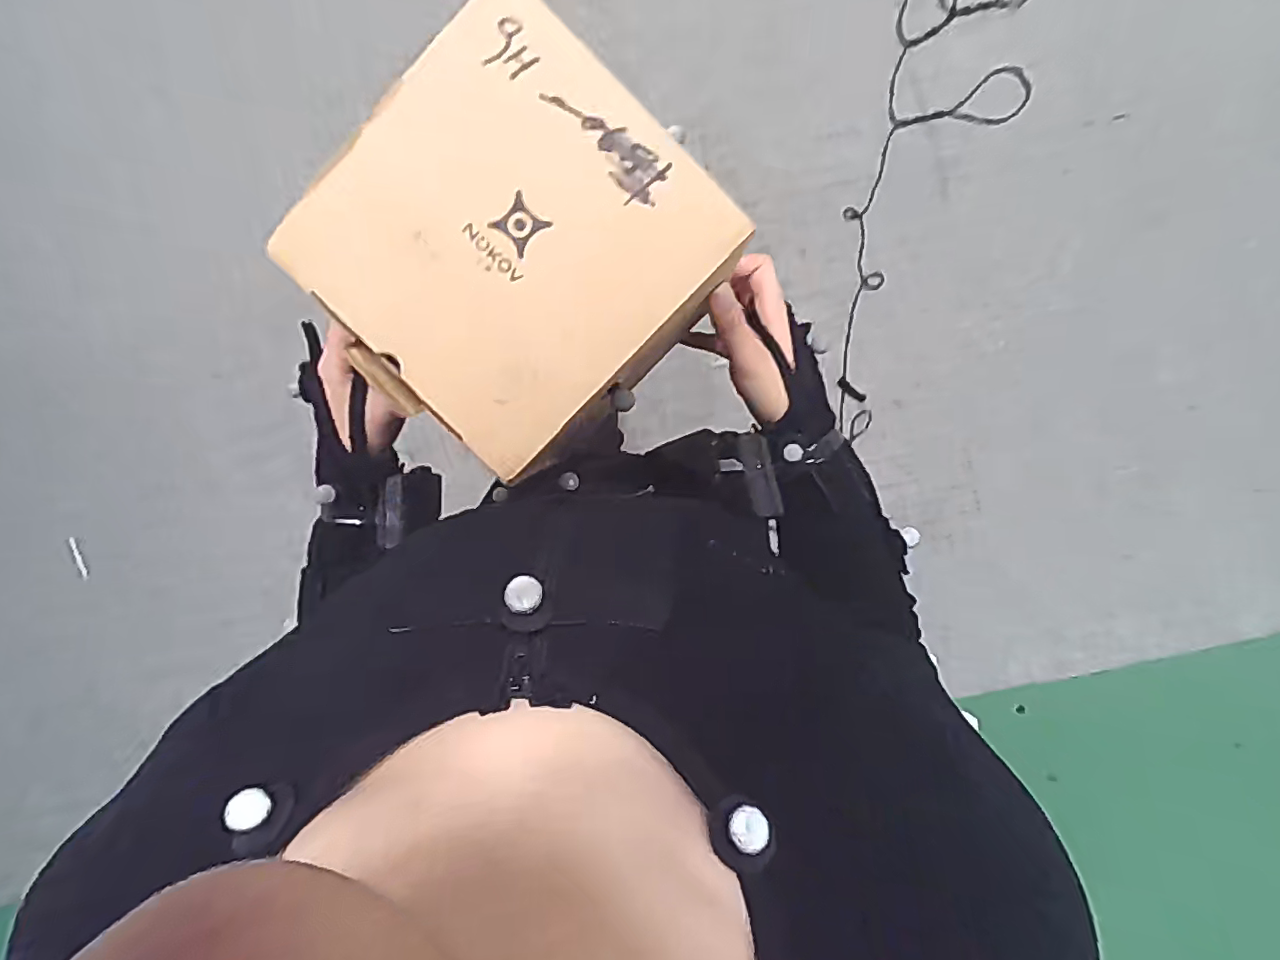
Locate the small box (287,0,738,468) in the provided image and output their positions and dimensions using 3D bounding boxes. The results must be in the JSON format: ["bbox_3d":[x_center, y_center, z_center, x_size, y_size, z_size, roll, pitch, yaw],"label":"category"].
[{"bbox_3d":[-0.062,-0.130,0.350,0.168,0.176,0.179,44,96,-4],"label":"small box"}]
